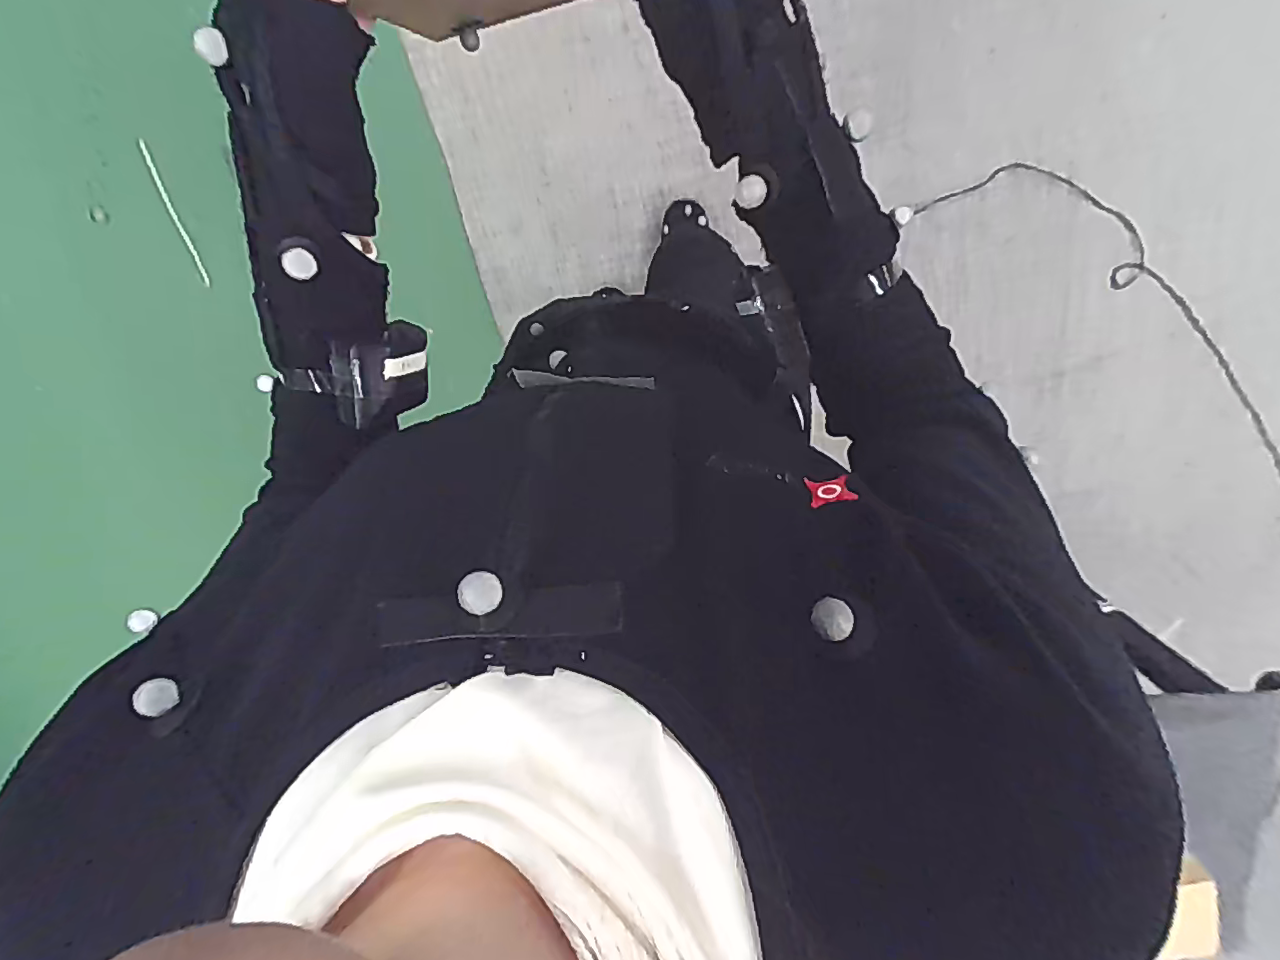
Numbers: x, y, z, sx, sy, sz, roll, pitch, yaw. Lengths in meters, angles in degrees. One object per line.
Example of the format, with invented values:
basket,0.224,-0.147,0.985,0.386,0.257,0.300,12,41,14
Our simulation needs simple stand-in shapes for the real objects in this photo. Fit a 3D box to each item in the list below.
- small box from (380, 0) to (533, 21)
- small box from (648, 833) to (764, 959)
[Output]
small box,-0.082,-0.349,0.252,0.168,0.176,0.179,-10,120,8
small box,0.114,0.746,0.919,0.168,0.176,0.179,-13,110,6
